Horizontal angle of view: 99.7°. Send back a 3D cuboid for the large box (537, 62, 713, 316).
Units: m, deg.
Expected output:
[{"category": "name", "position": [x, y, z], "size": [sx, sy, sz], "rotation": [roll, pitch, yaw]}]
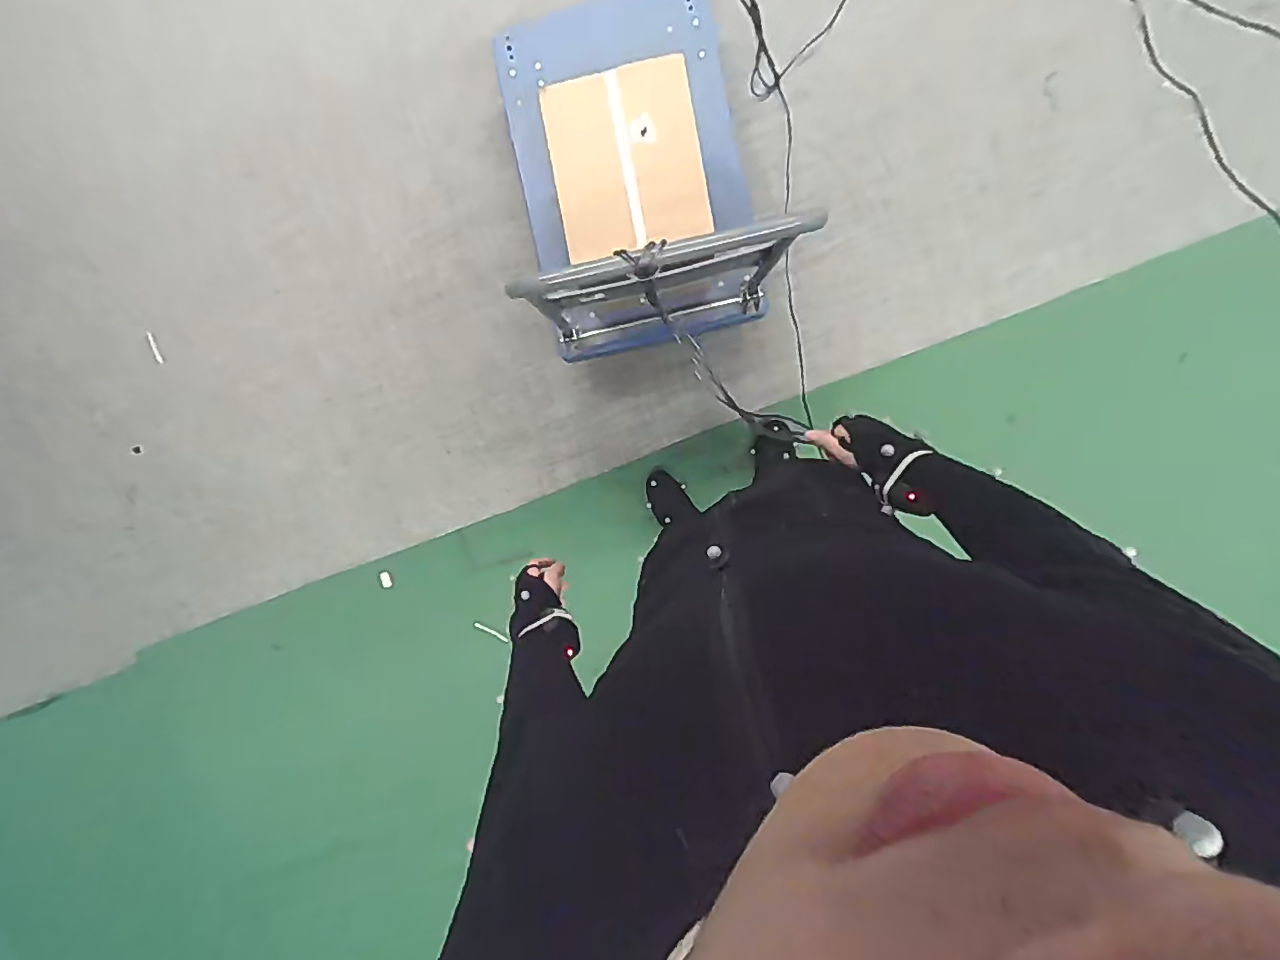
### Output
[{"category": "large box", "position": [-0.023, -0.656, 1.291], "size": [0.320, 0.320, 0.408], "rotation": [-11, 92, 3]}]
